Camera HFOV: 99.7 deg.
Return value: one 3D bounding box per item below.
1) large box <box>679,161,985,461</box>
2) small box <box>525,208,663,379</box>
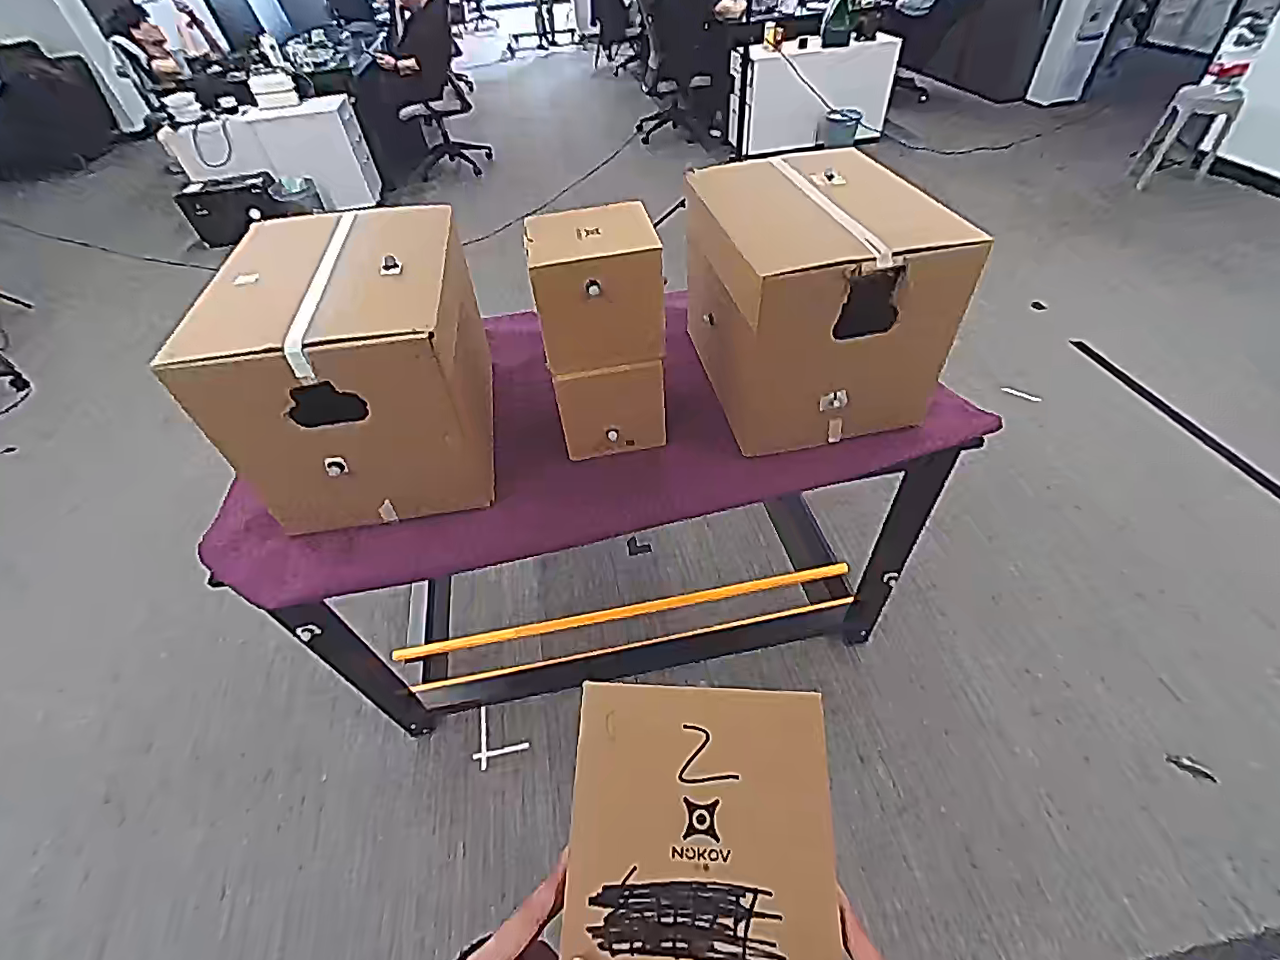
[{"bbox_3d":[0.268,-0.295,0.916,0.320,0.320,0.408,-11,46,-5],"label":"large box"},{"bbox_3d":[-0.063,-0.273,0.797,0.179,0.176,0.168,-11,47,-3],"label":"small box"}]
